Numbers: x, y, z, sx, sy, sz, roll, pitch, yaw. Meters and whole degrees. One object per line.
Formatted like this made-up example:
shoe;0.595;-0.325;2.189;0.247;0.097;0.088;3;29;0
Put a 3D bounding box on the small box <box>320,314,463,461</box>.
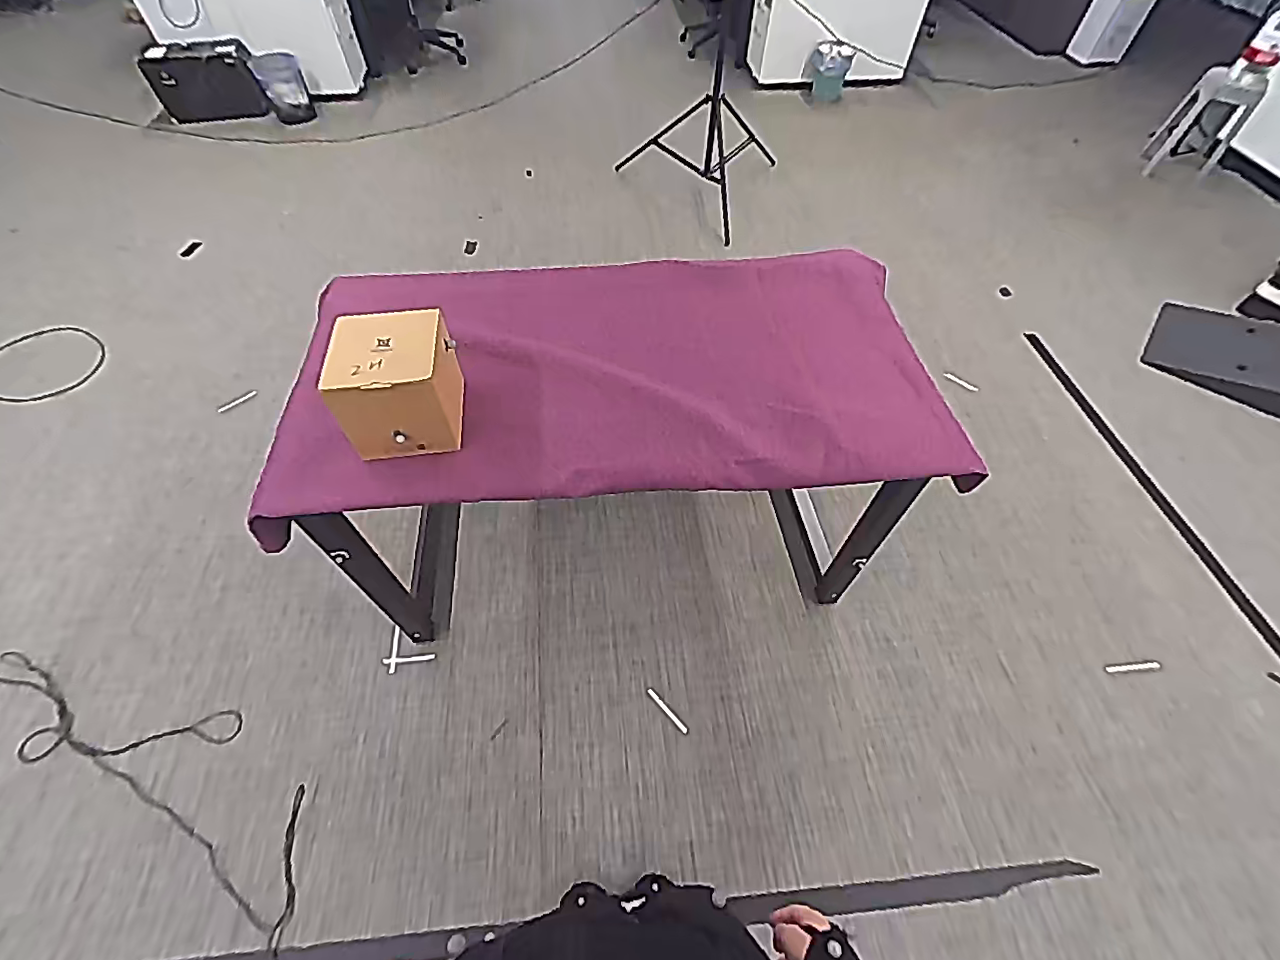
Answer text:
small box;-0.404;-0.155;0.915;0.168;0.176;0.179;-7;54;-6
